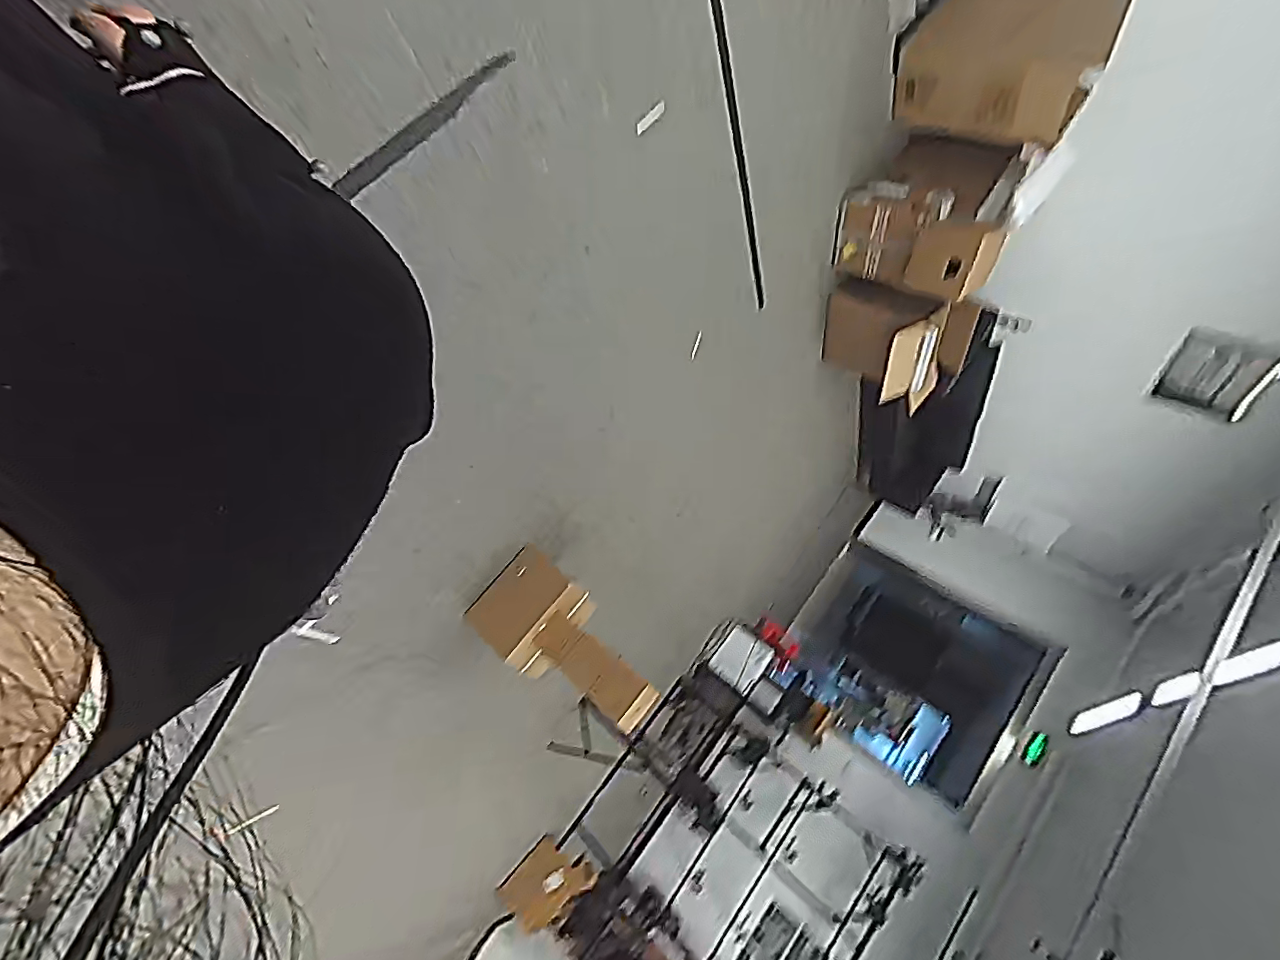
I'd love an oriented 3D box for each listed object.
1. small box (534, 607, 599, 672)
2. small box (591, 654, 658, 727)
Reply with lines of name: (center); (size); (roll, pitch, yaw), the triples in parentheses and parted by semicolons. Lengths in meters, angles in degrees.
small box: (-0.304, 0.653, 2.219); (0.179, 0.176, 0.168); (-50, 145, -12)
small box: (-0.063, 0.794, 2.045); (0.179, 0.176, 0.168); (-49, 146, -16)
